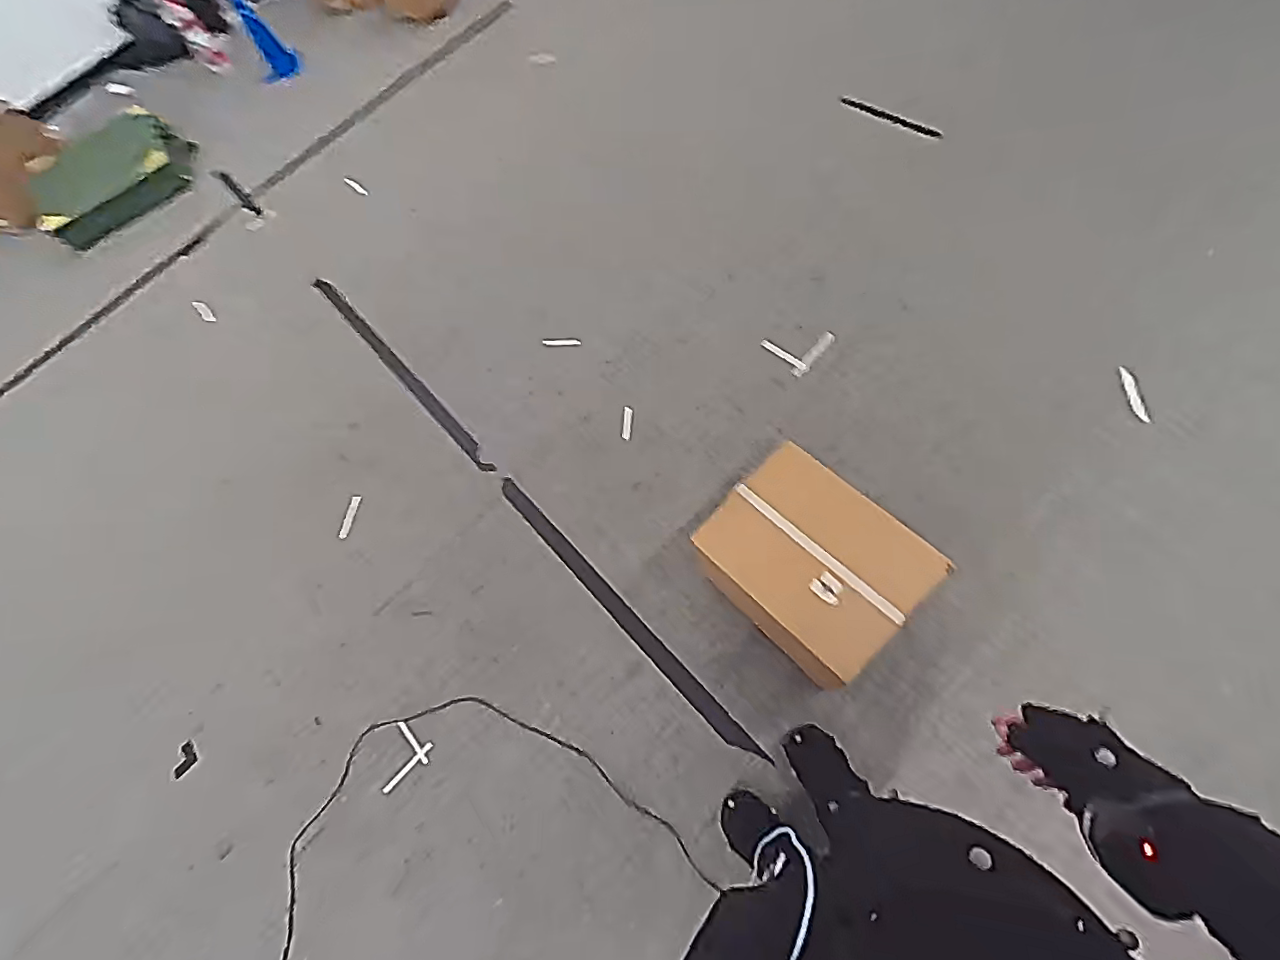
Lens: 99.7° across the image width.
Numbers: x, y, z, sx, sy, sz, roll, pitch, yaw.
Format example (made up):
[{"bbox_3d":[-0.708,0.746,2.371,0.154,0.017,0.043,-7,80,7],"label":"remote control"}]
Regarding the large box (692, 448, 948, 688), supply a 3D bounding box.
[{"bbox_3d":[0.371,0.206,1.218,0.320,0.320,0.408,-45,67,-8],"label":"large box"}]
